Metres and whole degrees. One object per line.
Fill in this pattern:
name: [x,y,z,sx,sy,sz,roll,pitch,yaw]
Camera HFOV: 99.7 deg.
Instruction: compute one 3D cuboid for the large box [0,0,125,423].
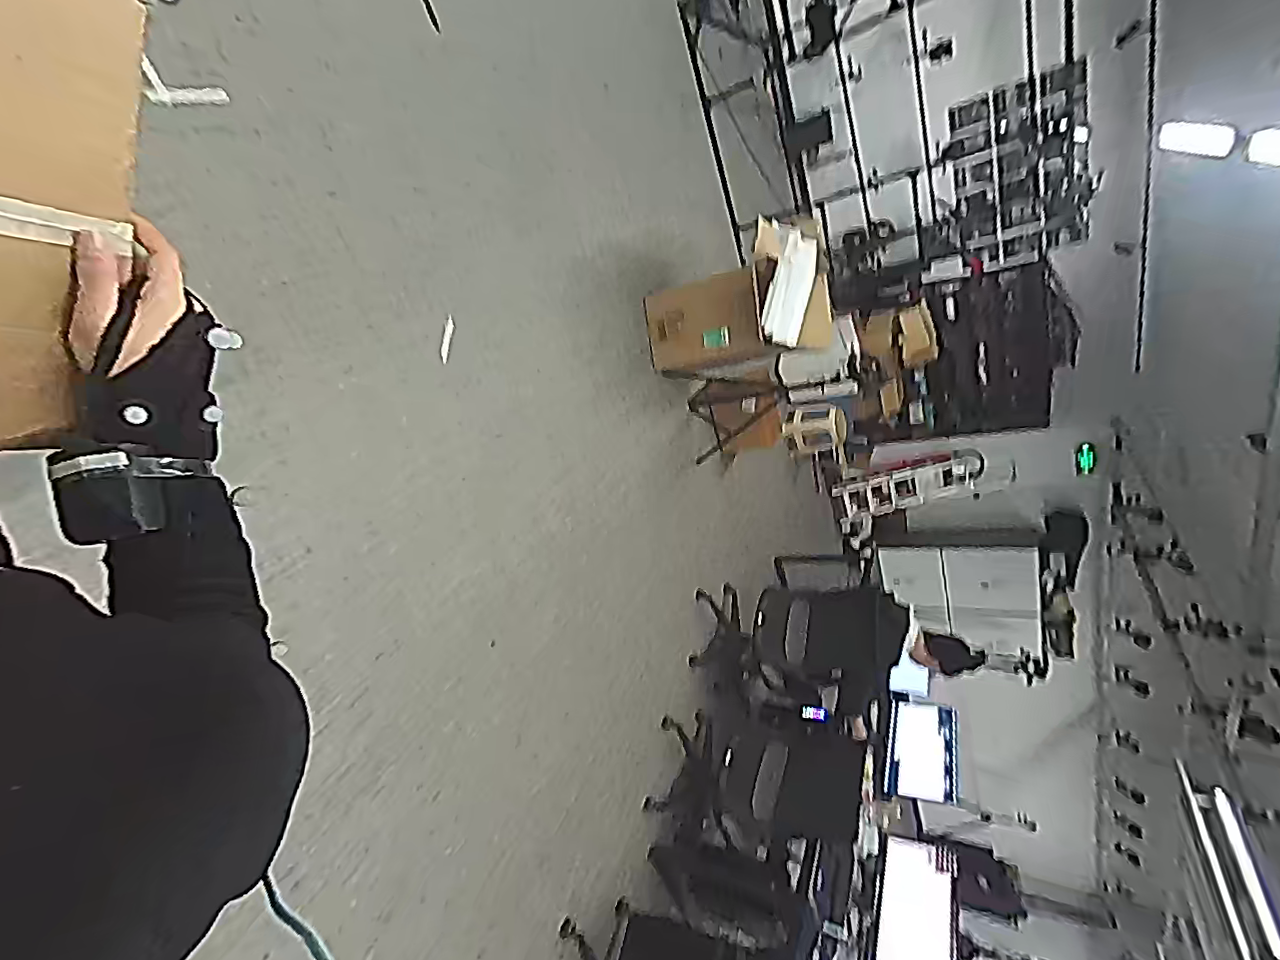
large box: [-0.565,-0.225,0.250,0.408,0.320,0.320,-13,135,-58]
